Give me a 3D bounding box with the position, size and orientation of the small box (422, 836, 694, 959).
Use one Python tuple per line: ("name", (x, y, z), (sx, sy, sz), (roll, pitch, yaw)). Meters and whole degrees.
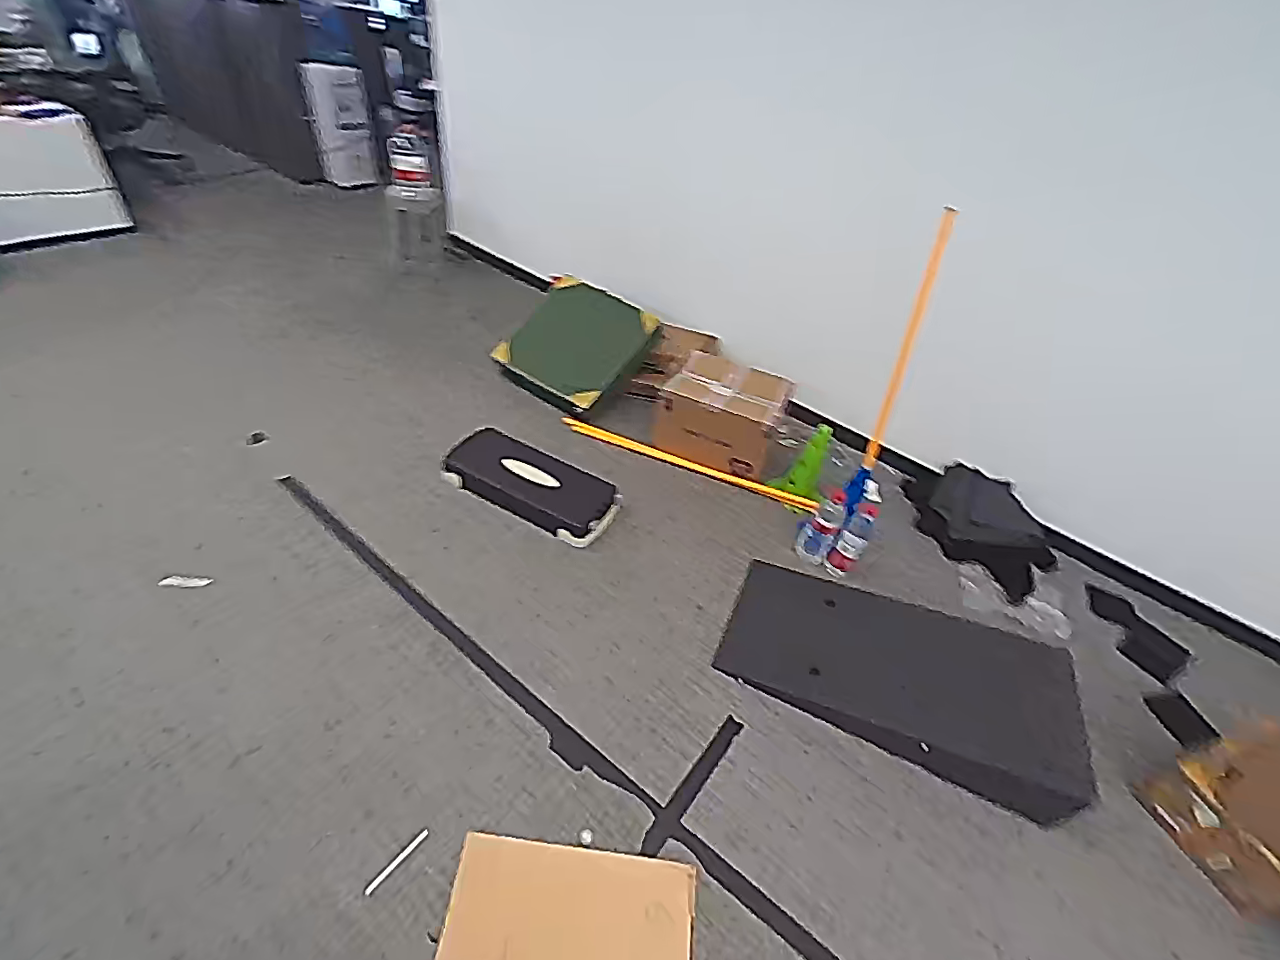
("small box", (-0.071, 0.375, 0.398), (0.179, 0.176, 0.168), (12, 52, -6))
